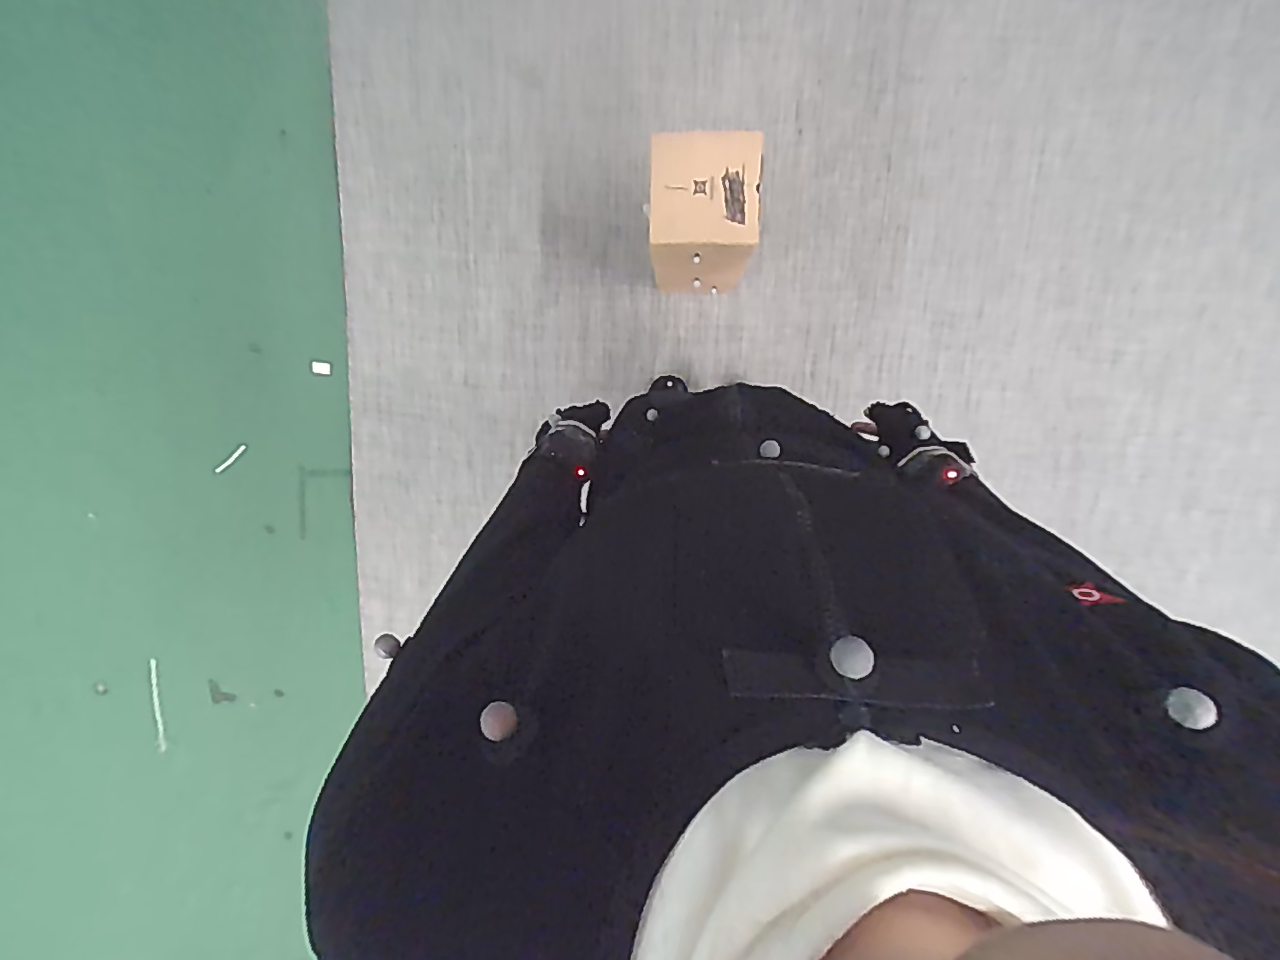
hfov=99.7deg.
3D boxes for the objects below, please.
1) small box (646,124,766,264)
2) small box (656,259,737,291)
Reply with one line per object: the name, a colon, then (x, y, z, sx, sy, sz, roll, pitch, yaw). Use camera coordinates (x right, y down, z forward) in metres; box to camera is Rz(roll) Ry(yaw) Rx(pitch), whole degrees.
small box: (0.106, -0.477, 0.927, 0.179, 0.176, 0.168, 5, 99, 2)
small box: (0.131, -0.539, 1.251, 0.179, 0.176, 0.168, 2, 100, 5)
